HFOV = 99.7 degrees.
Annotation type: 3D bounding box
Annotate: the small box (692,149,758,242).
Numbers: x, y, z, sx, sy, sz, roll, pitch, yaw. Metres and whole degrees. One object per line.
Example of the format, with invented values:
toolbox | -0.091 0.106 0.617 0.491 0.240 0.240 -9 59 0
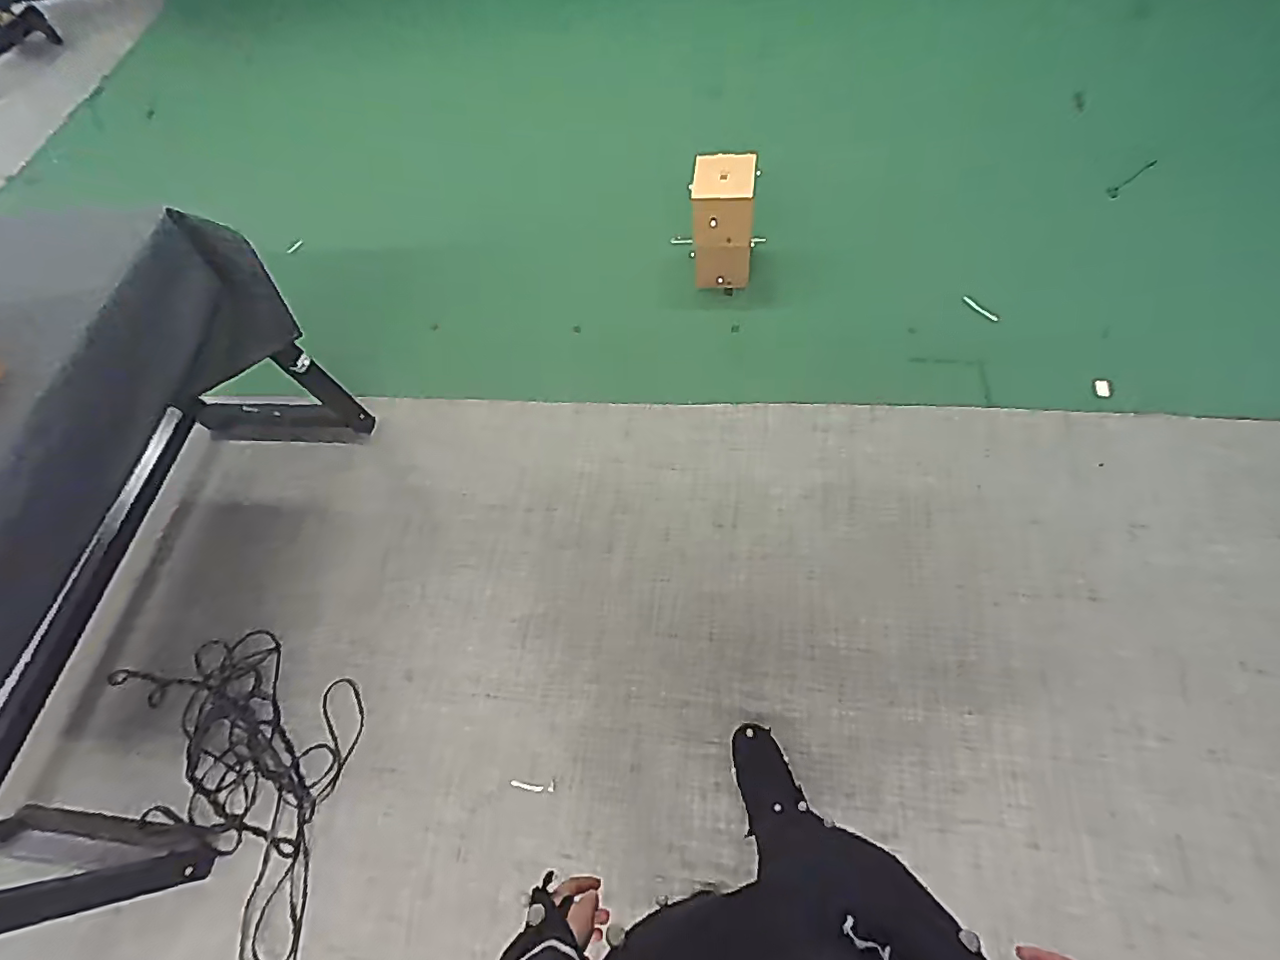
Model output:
small box | 0.243 -0.795 1.525 0.168 0.176 0.179 4 65 11
